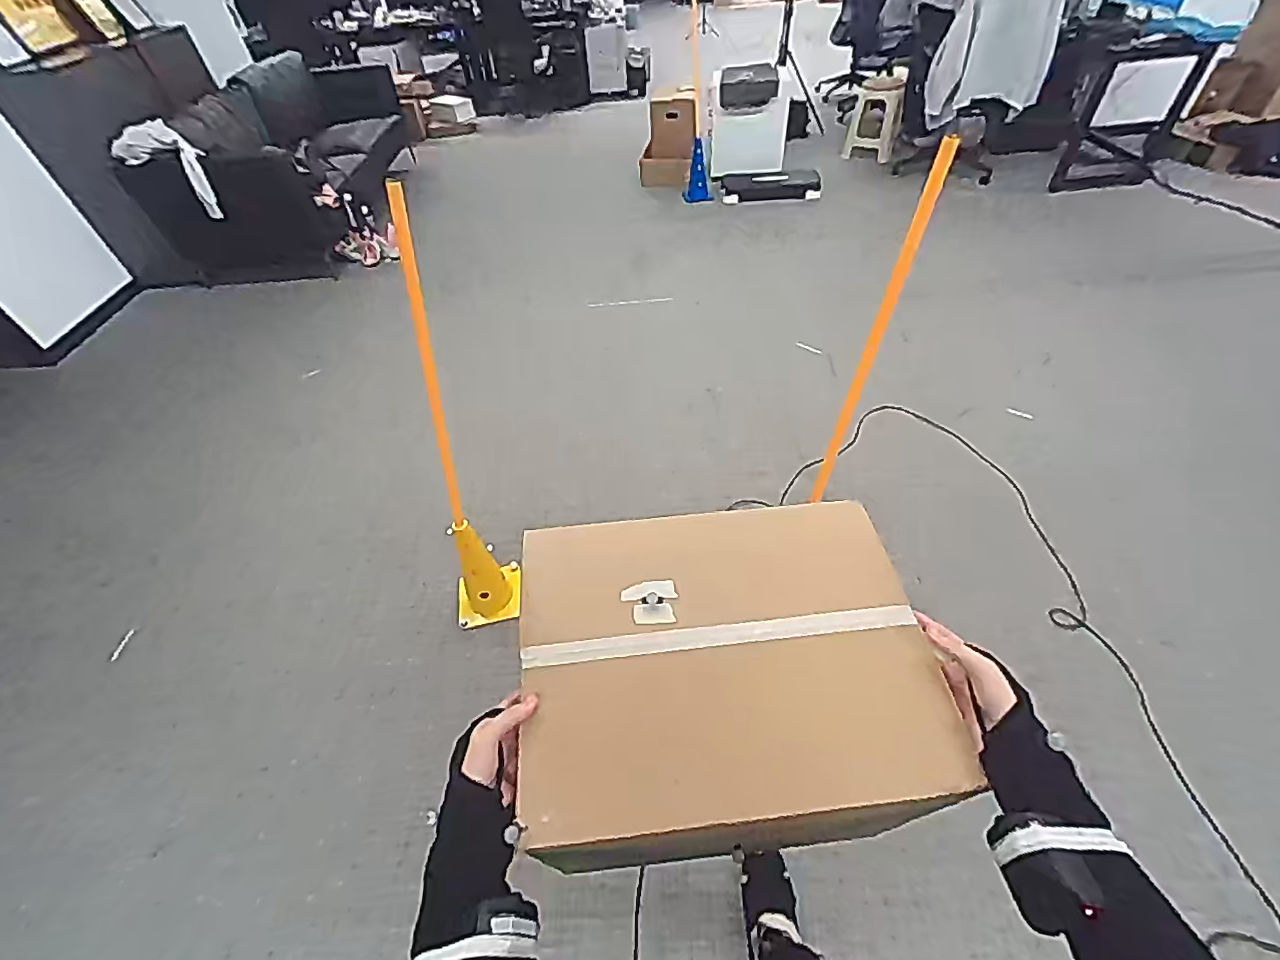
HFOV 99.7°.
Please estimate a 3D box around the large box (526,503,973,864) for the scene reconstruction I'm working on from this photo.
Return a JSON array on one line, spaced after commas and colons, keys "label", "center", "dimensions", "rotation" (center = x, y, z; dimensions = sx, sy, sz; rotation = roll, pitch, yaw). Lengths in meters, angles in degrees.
[{"label": "large box", "center": [0.088, 0.259, 0.674], "dimensions": [0.408, 0.320, 0.320], "rotation": [-6, 50, -3]}]
